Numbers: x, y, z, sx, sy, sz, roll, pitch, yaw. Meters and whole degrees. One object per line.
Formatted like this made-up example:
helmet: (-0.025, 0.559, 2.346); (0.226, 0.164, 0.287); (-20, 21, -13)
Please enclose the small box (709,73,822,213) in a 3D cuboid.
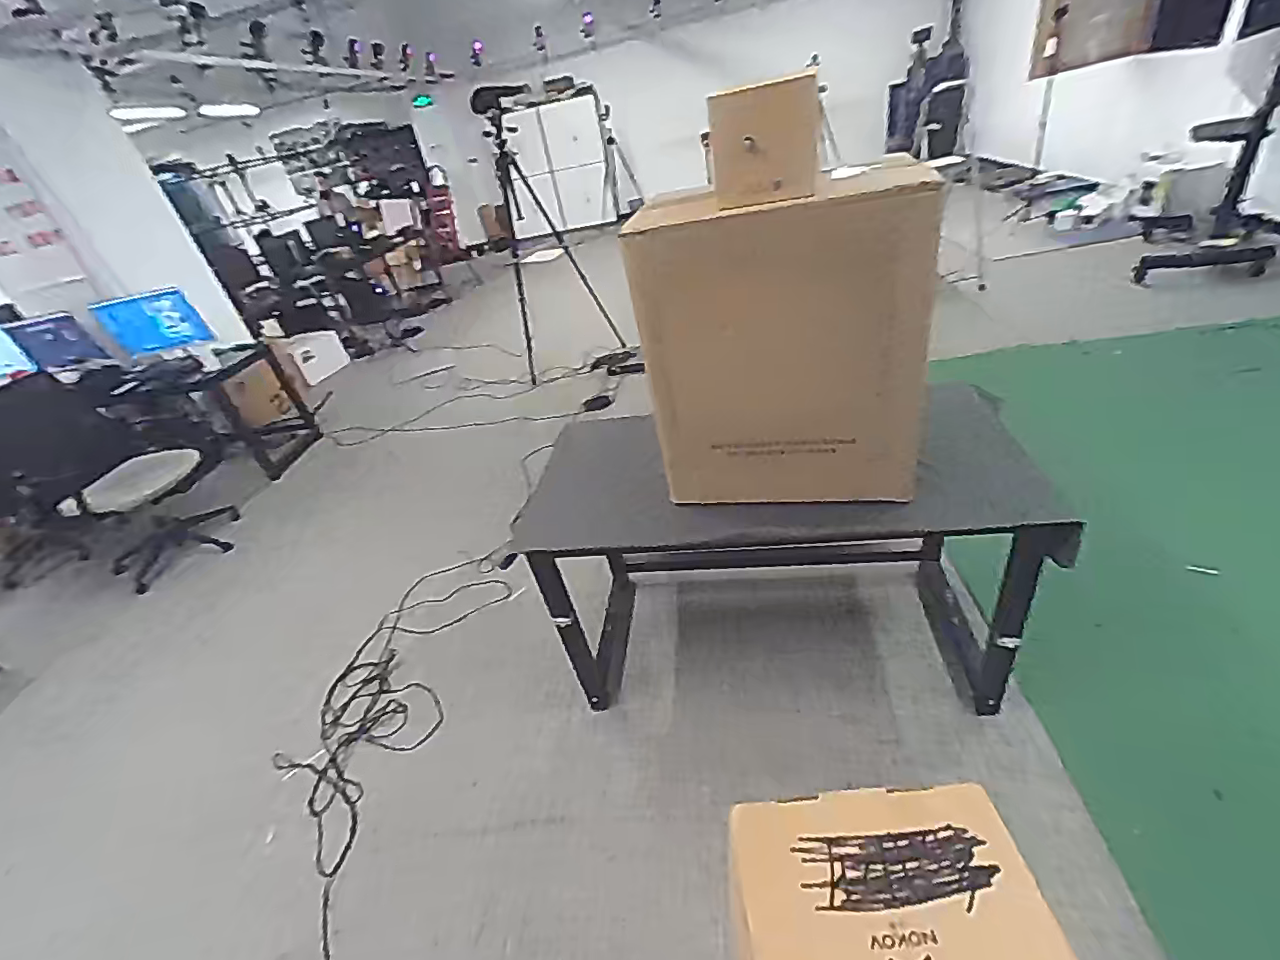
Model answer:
small box: (0.222, -0.569, 0.925); (0.168, 0.176, 0.179); (0, 38, 19)
